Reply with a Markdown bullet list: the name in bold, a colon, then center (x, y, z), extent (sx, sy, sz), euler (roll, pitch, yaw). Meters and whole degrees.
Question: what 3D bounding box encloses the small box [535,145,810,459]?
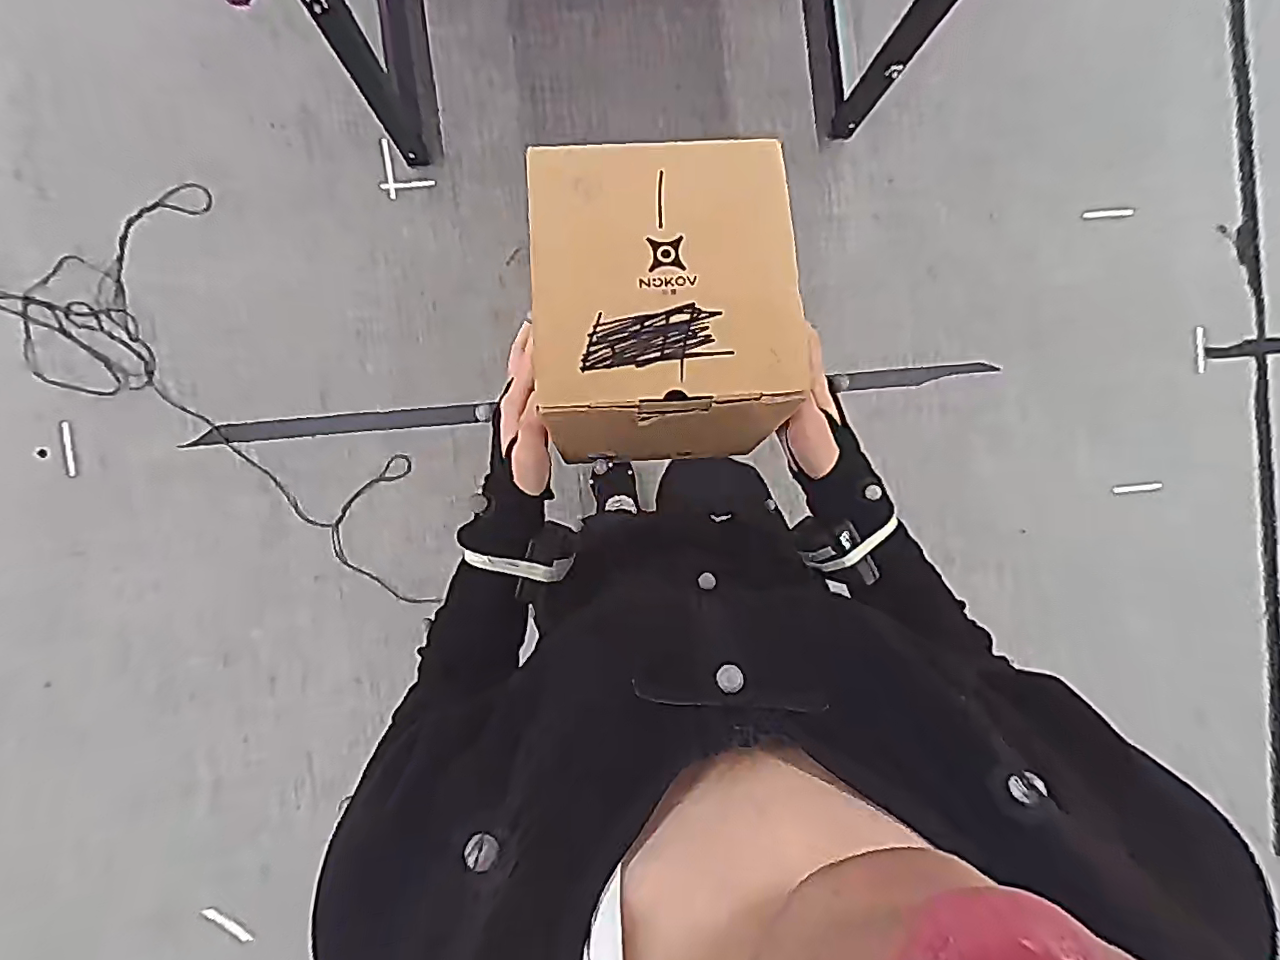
- **small box**: center (0.017, -0.115, 0.415), extent (0.168, 0.176, 0.179), euler (-3, 80, -2)
